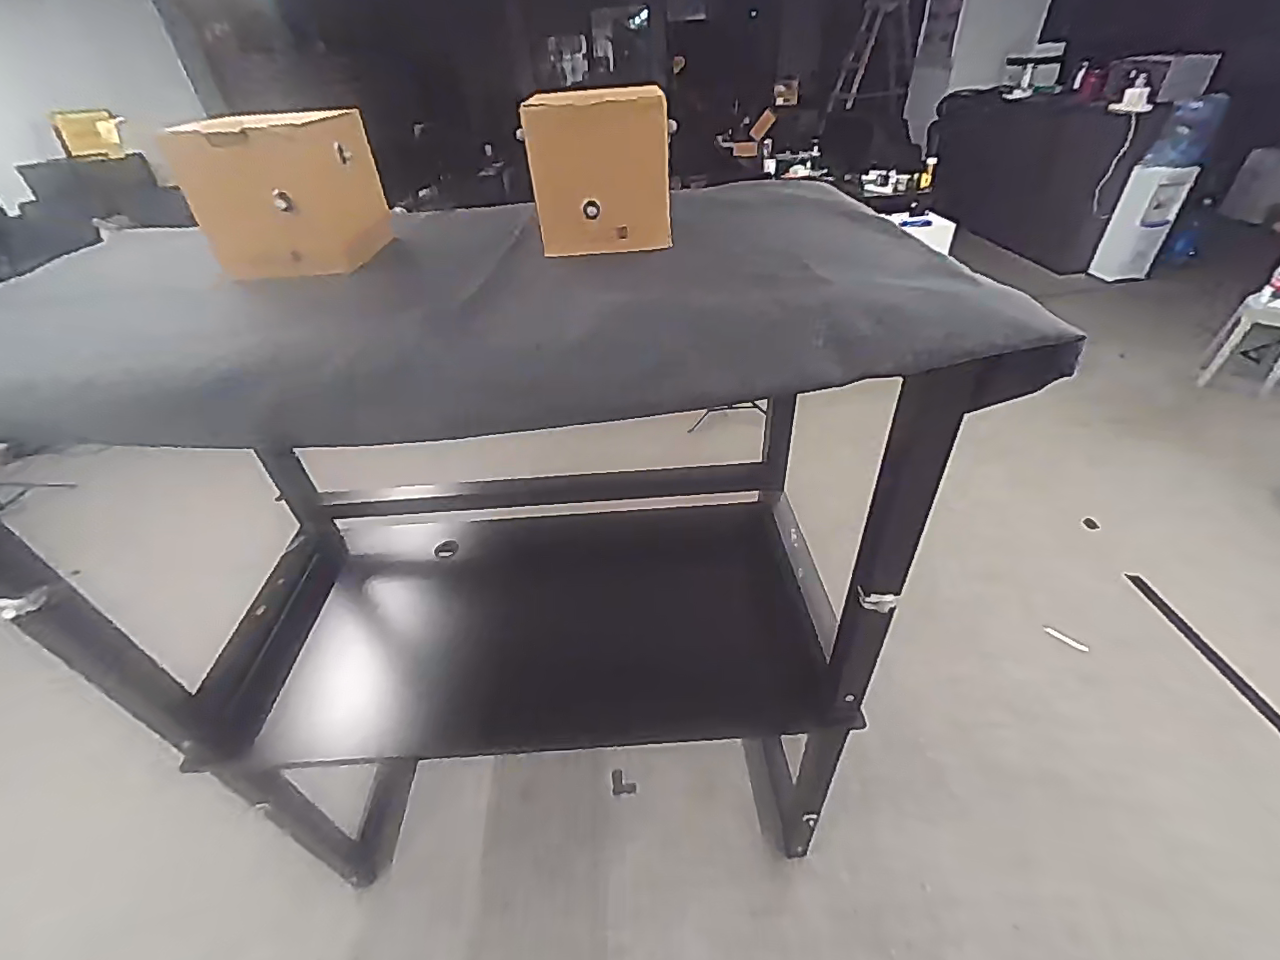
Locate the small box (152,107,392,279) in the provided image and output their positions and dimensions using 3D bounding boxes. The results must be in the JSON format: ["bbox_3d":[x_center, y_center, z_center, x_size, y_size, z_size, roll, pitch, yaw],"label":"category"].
[{"bbox_3d":[-0.453,-0.371,0.706,0.168,0.176,0.179,-2,39,2],"label":"small box"}]

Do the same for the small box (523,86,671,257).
[{"bbox_3d":[-0.047,-0.405,0.710,0.168,0.176,0.179,-4,40,1],"label":"small box"}]
